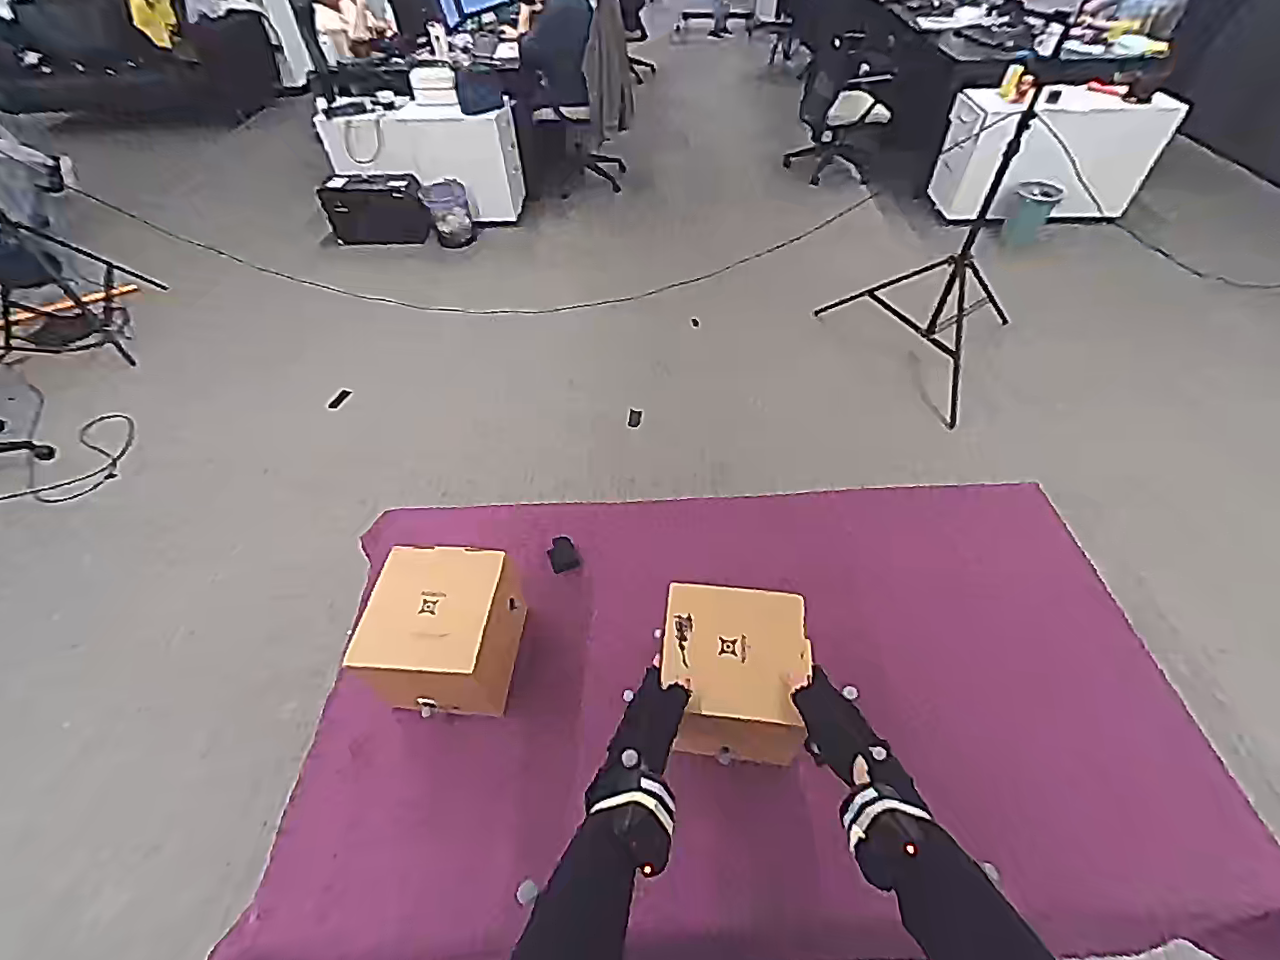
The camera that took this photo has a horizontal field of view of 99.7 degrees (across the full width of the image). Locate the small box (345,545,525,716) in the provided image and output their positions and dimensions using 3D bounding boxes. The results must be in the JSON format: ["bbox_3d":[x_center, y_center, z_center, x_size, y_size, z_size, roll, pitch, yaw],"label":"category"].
[{"bbox_3d":[-0.268,0.212,0.761,0.168,0.176,0.179,1,50,4],"label":"small box"}]

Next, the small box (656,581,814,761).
[{"bbox_3d":[0.117,0.255,0.712,0.179,0.176,0.168,5,49,6],"label":"small box"}]
